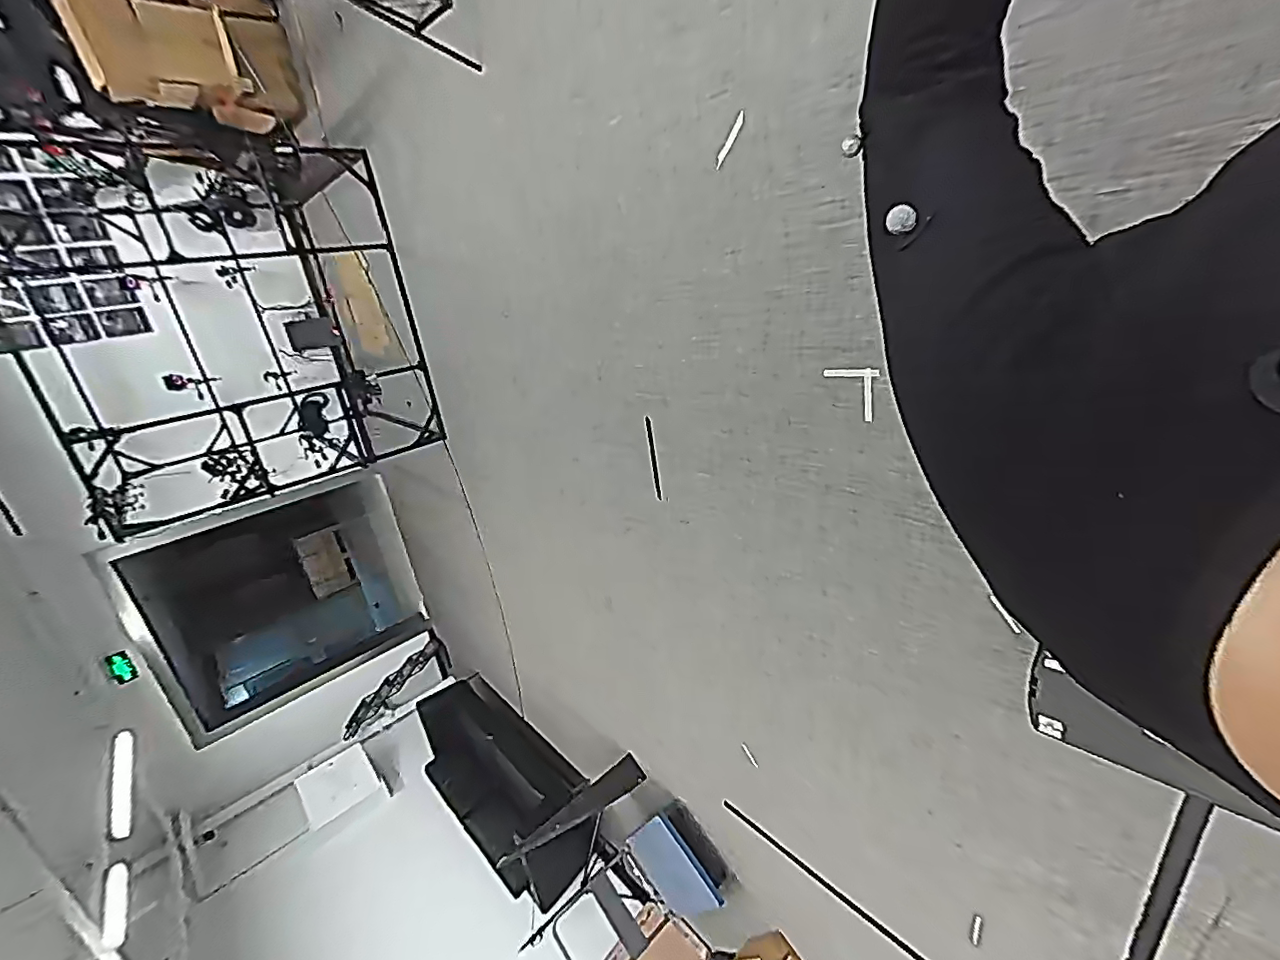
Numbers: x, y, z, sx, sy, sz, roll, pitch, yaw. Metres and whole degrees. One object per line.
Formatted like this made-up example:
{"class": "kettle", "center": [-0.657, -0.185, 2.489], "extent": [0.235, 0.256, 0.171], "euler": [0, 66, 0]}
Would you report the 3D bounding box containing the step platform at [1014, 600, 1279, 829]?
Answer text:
{"class": "step platform", "center": [1.217, 0.512, 1.159], "extent": [0.684, 0.204, 0.286], "euler": [14, 120, 49]}
